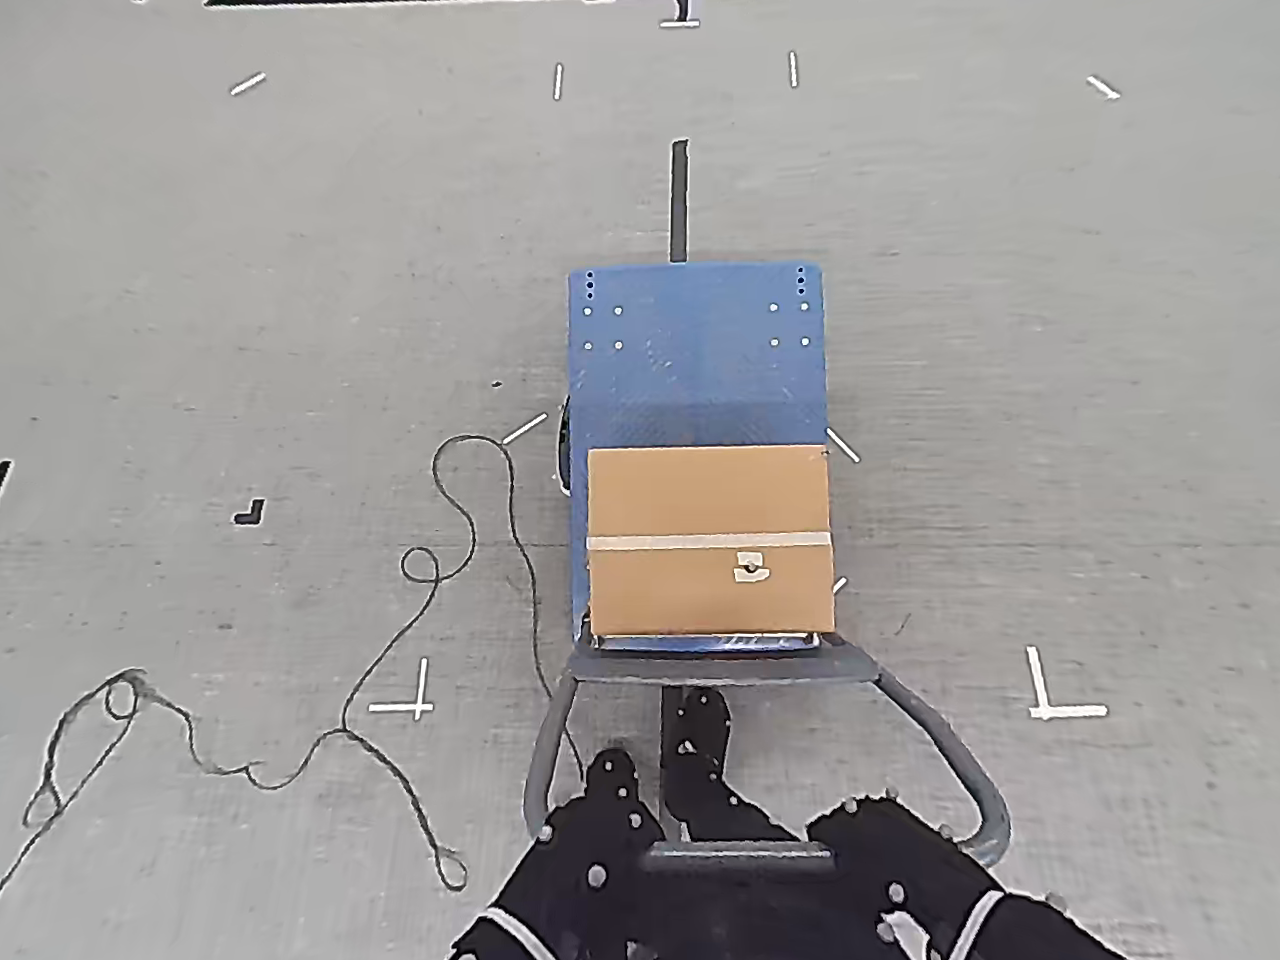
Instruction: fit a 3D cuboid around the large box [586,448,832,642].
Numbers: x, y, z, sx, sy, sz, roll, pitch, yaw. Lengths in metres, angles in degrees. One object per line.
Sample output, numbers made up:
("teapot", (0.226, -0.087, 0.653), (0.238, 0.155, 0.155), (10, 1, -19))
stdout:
("large box", (0.112, 0.115, 1.044), (0.408, 0.320, 0.320), (-1, 88, 0))
